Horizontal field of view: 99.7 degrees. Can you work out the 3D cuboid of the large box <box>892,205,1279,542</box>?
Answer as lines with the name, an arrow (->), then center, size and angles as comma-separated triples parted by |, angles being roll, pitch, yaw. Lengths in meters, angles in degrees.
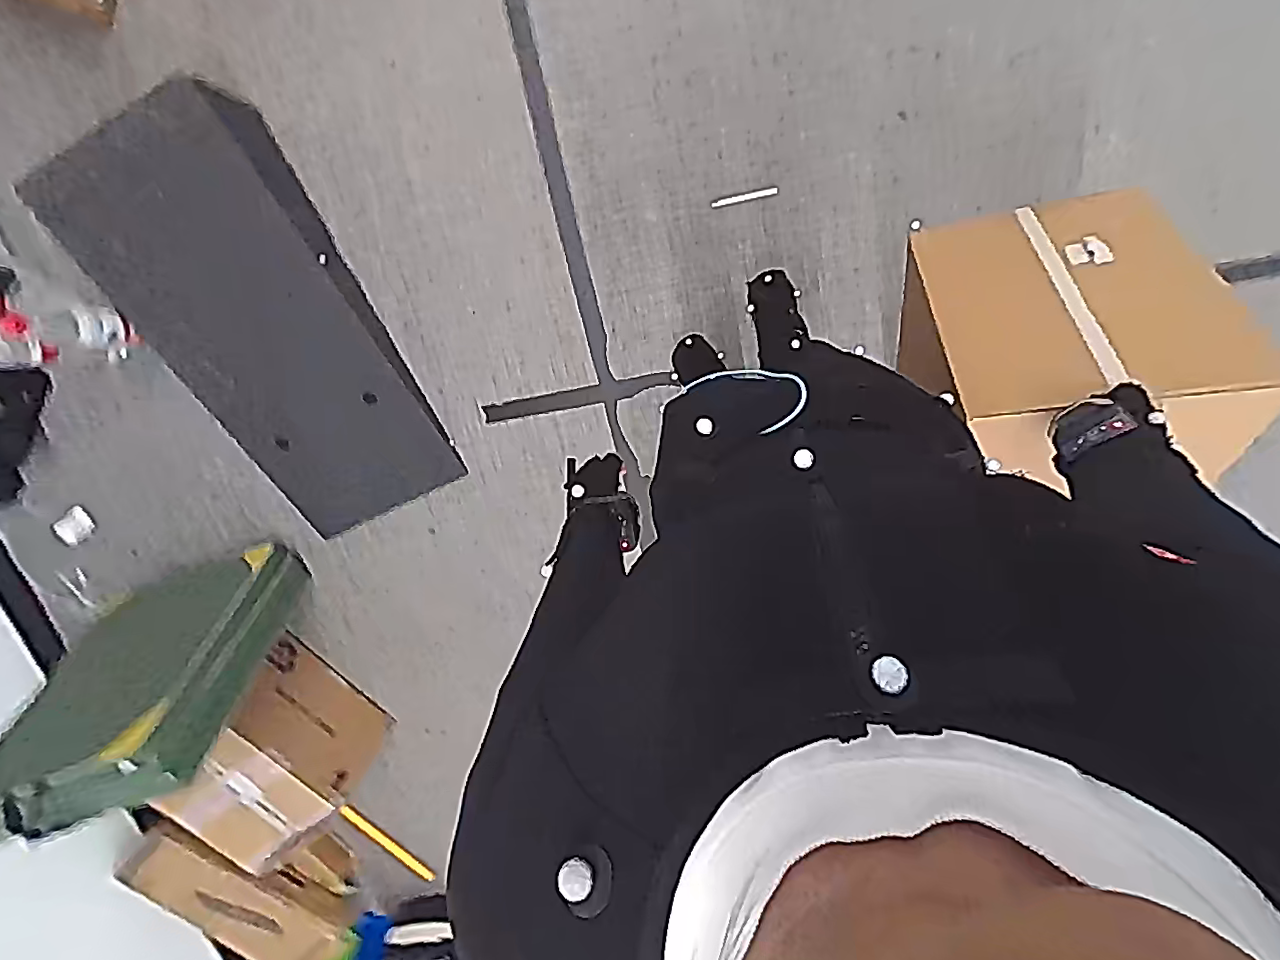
large box -> 0.606, -0.154, 0.851 | 0.320, 0.408, 0.320 | -4, 143, 15
